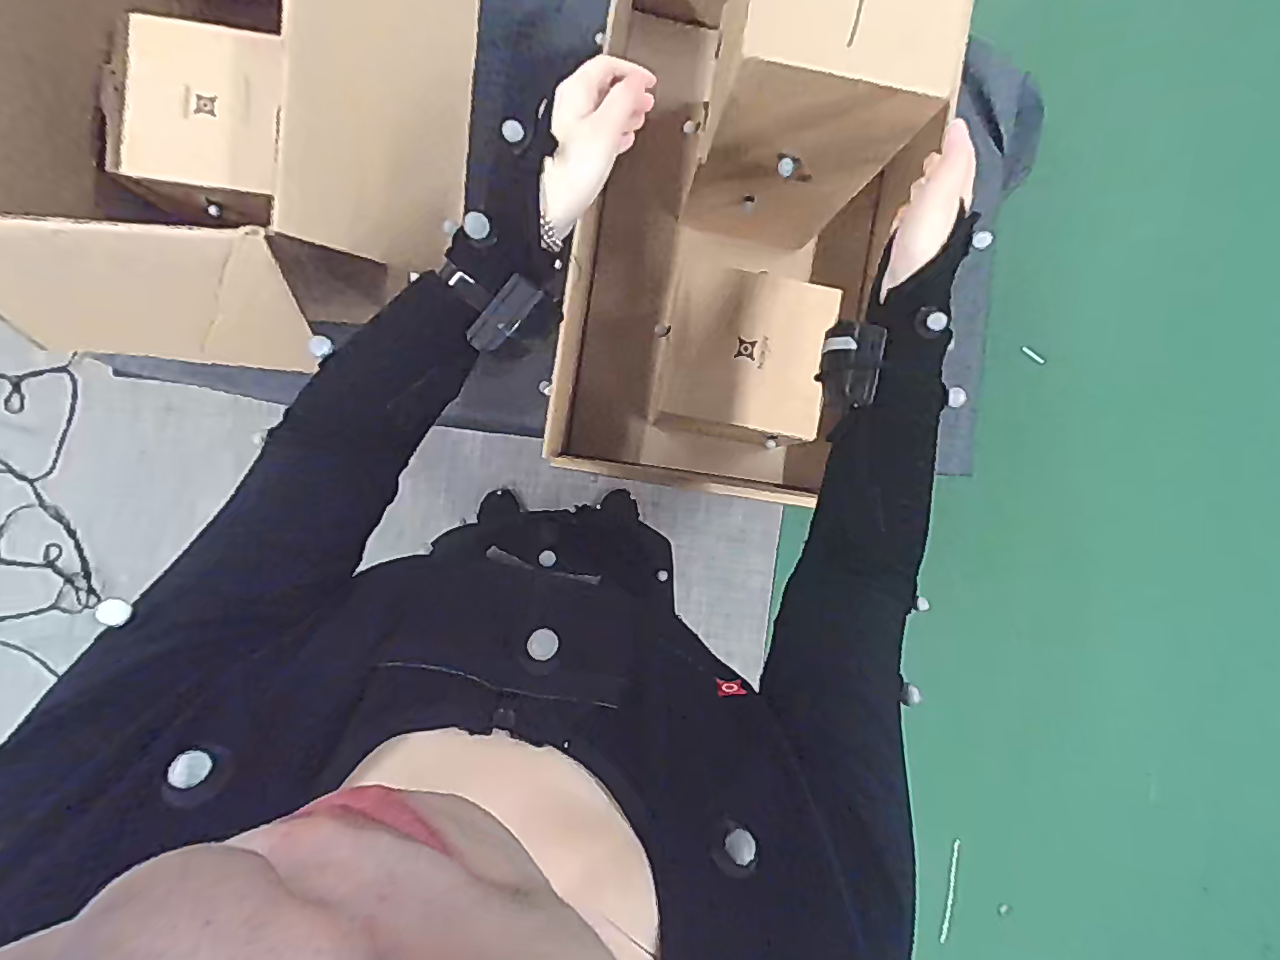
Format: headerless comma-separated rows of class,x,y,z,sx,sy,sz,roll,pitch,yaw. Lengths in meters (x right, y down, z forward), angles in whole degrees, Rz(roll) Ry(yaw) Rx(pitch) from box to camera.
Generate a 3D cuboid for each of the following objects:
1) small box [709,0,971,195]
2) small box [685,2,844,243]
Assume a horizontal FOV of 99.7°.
small box,0.166,-0.392,0.482,0.168,0.176,0.179,10,94,-4
small box,0.157,-0.405,0.646,0.179,0.176,0.168,10,94,-3
